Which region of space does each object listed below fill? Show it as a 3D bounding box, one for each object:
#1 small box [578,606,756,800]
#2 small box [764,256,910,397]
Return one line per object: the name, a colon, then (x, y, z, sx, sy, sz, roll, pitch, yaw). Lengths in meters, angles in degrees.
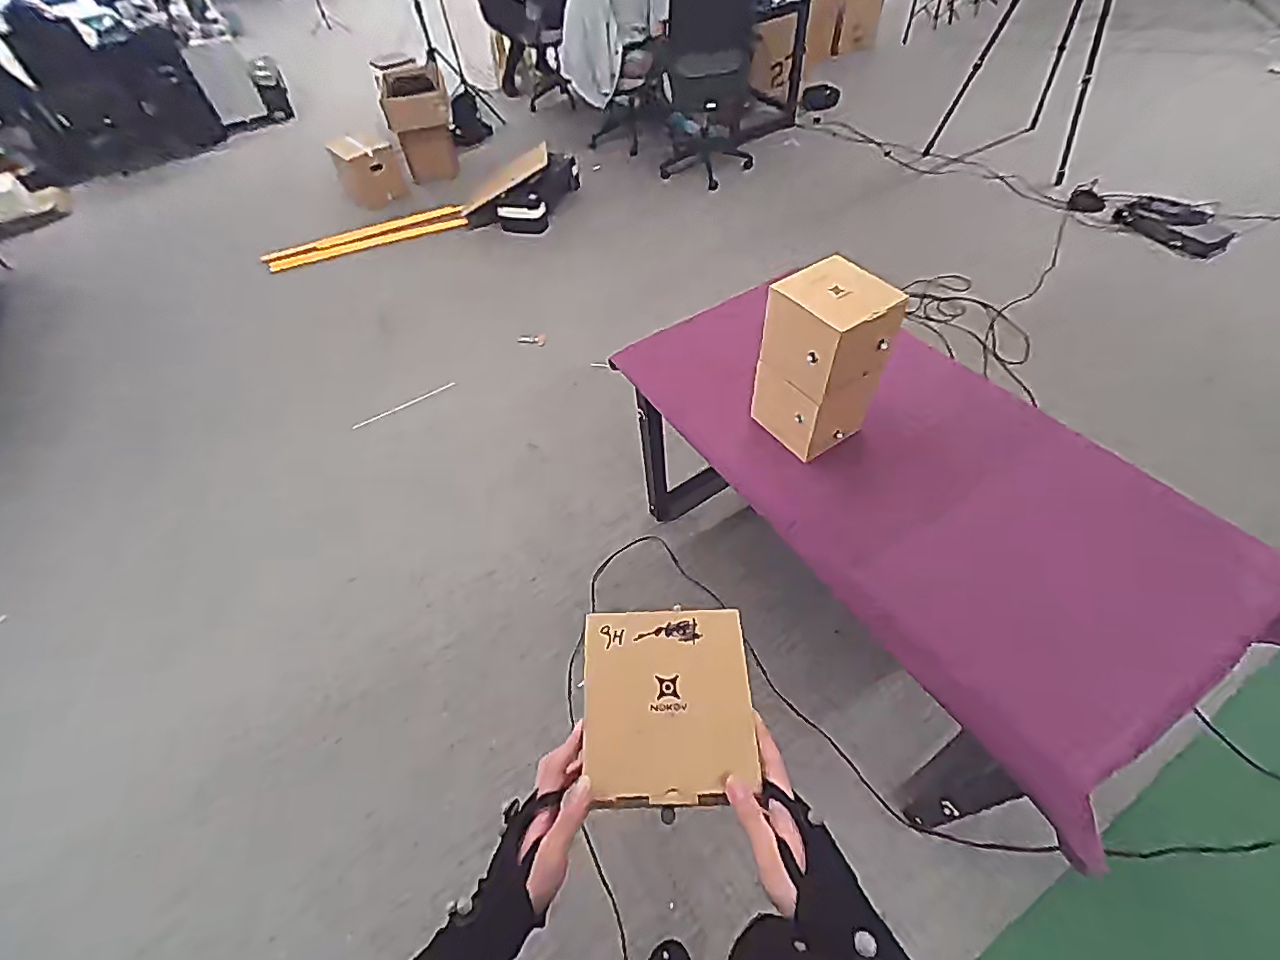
small box: (0.024, 0.252, 0.599, 0.168, 0.176, 0.179, -1, 57, -1)
small box: (0.351, -0.275, 0.999, 0.168, 0.176, 0.179, -28, 55, -17)
